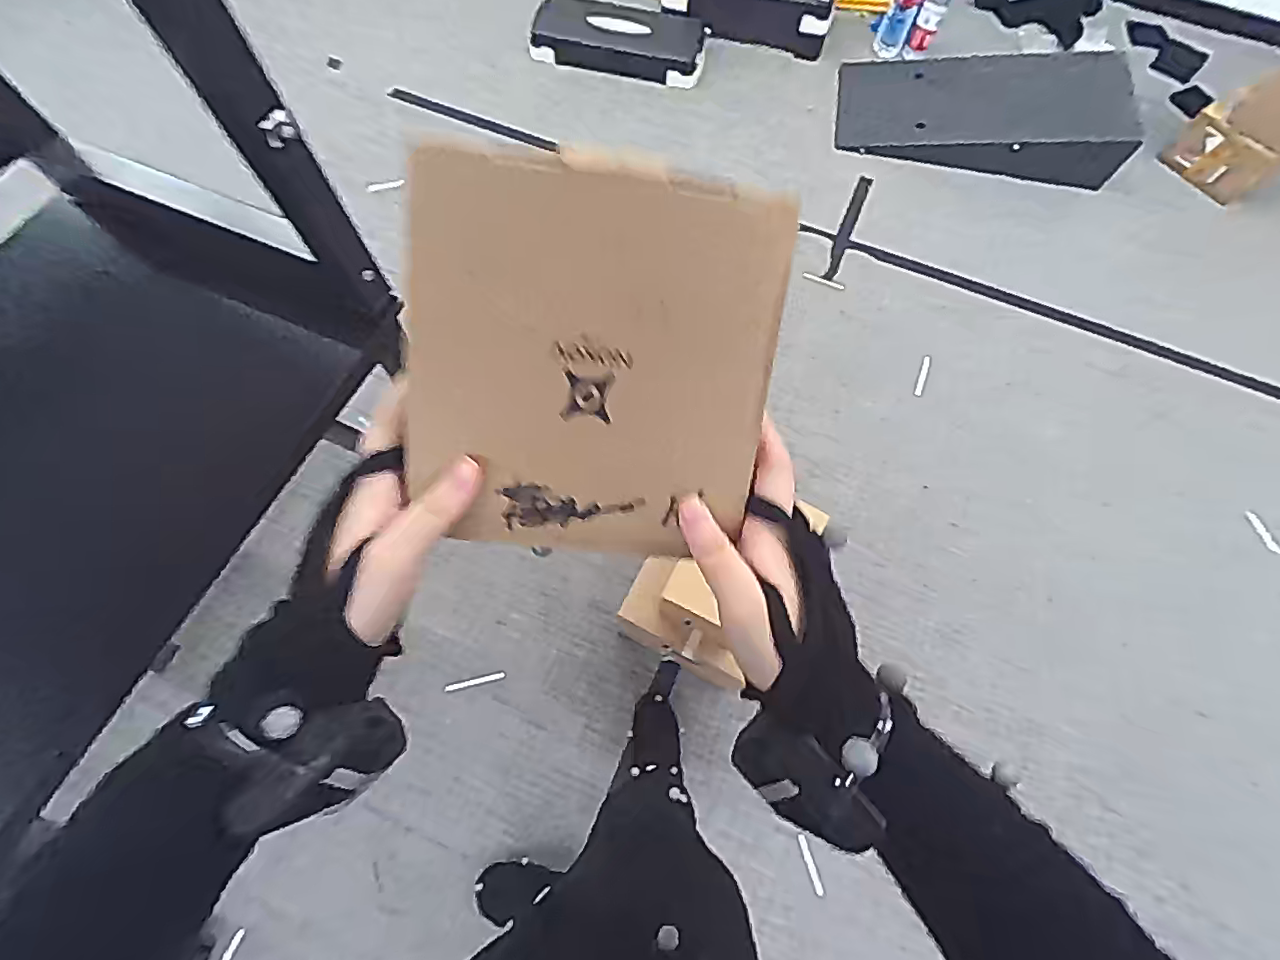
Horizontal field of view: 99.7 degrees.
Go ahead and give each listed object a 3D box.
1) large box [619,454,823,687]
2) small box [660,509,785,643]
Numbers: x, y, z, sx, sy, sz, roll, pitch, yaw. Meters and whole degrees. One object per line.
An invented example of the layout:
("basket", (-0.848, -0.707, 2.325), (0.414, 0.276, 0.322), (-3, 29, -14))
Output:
("large box", (0.171, 0.224, 1.262), (0.320, 0.320, 0.408), (27, 69, 7))
("small box", (0.144, 0.186, 1.012), (0.168, 0.176, 0.179), (26, 70, 9))
